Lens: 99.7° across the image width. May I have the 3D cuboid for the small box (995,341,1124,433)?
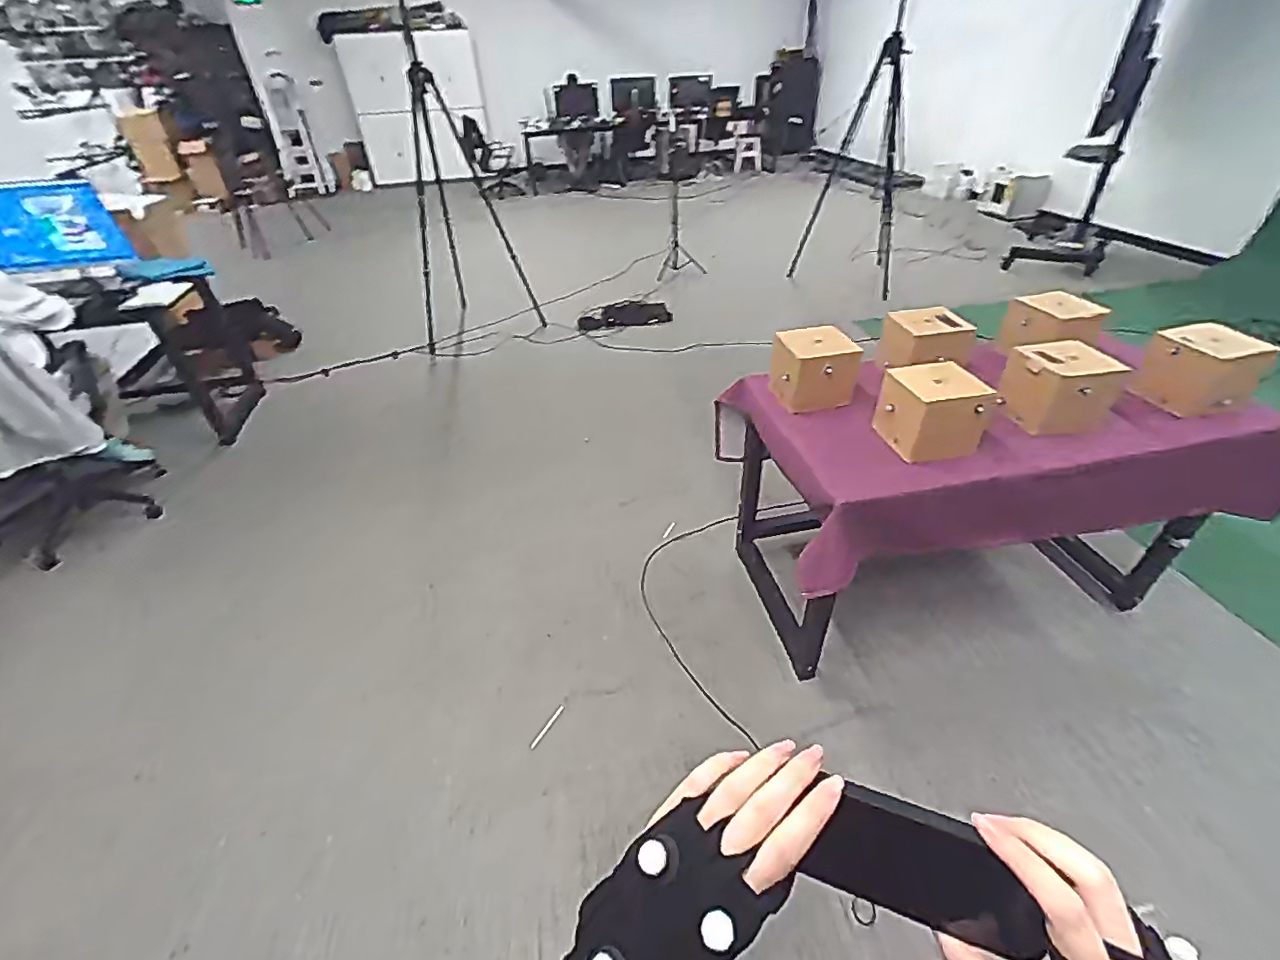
[{"bbox_3d":[1.030,-0.230,1.352,0.179,0.176,0.168,-7,38,-5],"label":"small box"}]

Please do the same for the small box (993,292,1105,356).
[{"bbox_3d":[1.197,-0.439,1.601,0.168,0.176,0.179,-12,39,-9],"label":"small box"}]

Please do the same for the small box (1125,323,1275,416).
[{"bbox_3d":[1.416,-0.282,1.384,0.179,0.176,0.168,-10,38,-8],"label":"small box"}]

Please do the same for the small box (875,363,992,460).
[{"bbox_3d":[0.688,-0.163,1.297,0.179,0.176,0.168,-8,38,-7],"label":"small box"}]
